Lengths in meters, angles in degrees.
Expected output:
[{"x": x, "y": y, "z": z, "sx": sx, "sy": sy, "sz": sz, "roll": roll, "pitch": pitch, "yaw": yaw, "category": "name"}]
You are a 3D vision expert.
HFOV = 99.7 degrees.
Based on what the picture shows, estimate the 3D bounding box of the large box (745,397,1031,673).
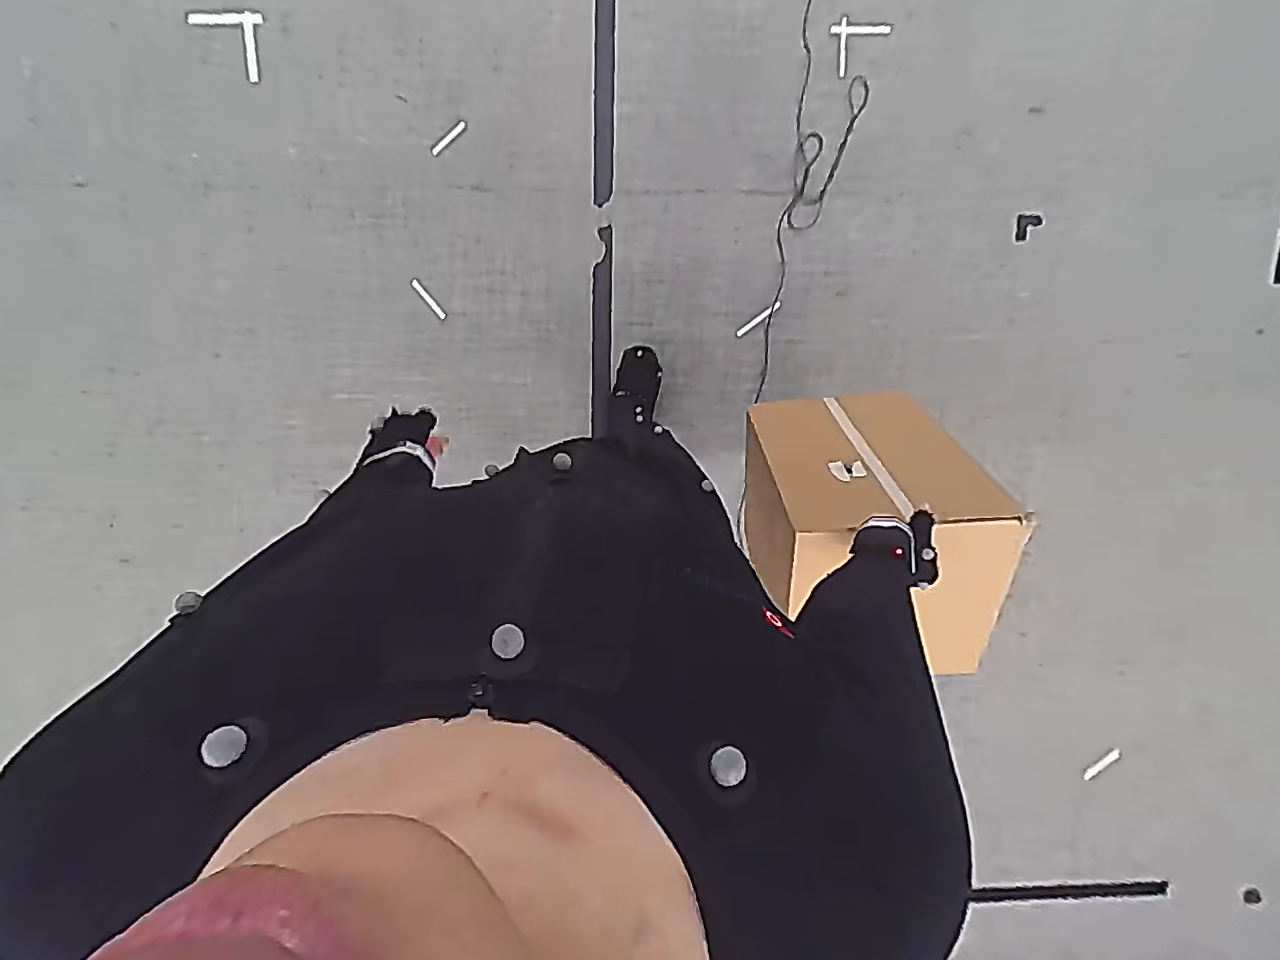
[{"x": 0.381, "y": 0.080, "z": 0.975, "sx": 0.320, "sy": 0.408, "sz": 0.320, "roll": -5, "pitch": 123, "yaw": 2, "category": "large box"}]
